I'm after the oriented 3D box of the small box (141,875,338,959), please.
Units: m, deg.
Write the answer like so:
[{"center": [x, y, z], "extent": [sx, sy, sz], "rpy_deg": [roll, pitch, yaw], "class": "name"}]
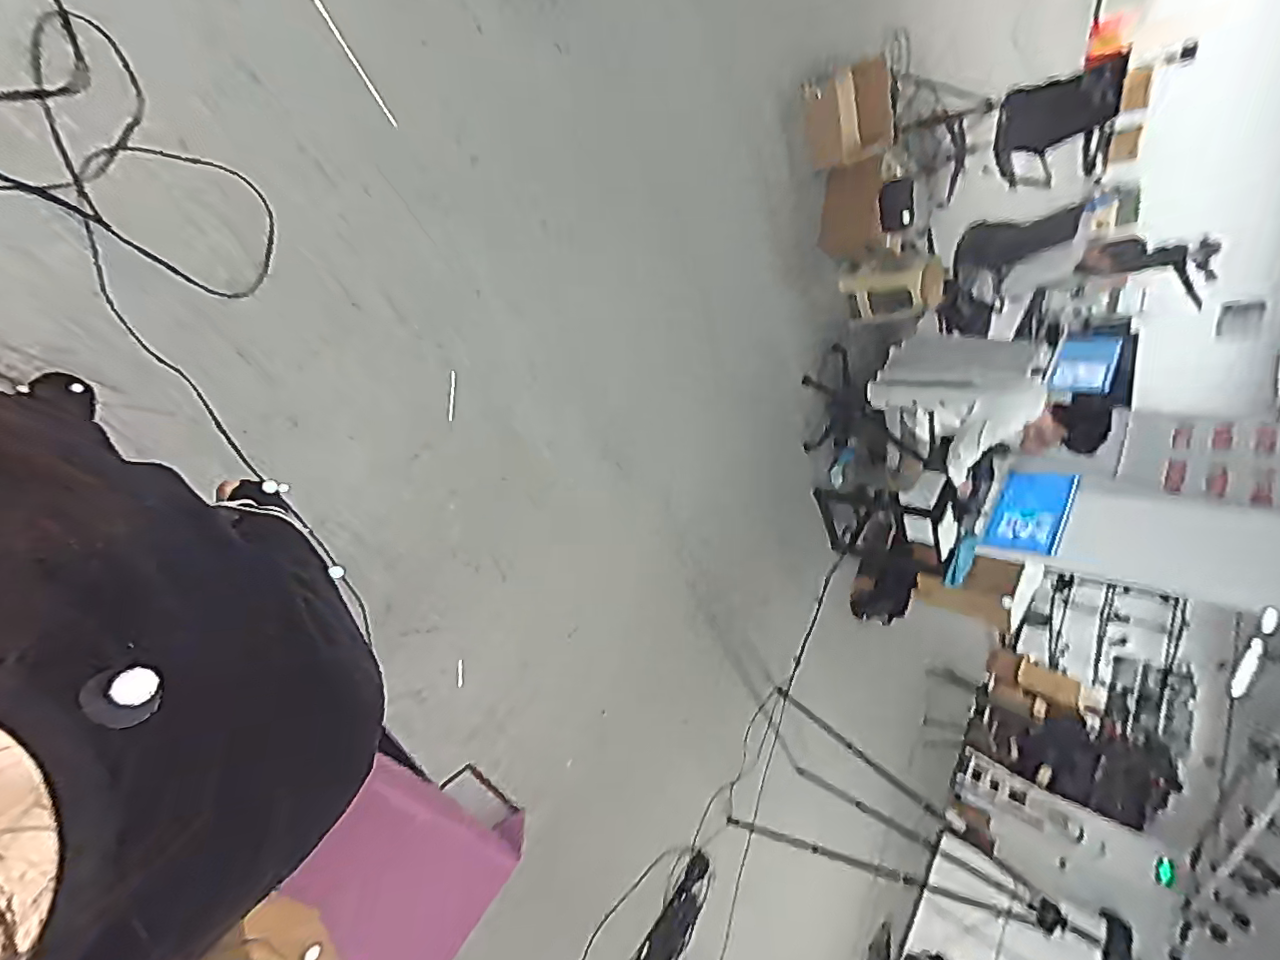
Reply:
[{"center": [-0.503, 0.637, 0.664], "extent": [0.168, 0.176, 0.179], "rpy_deg": [-46, 129, -29], "class": "small box"}]
